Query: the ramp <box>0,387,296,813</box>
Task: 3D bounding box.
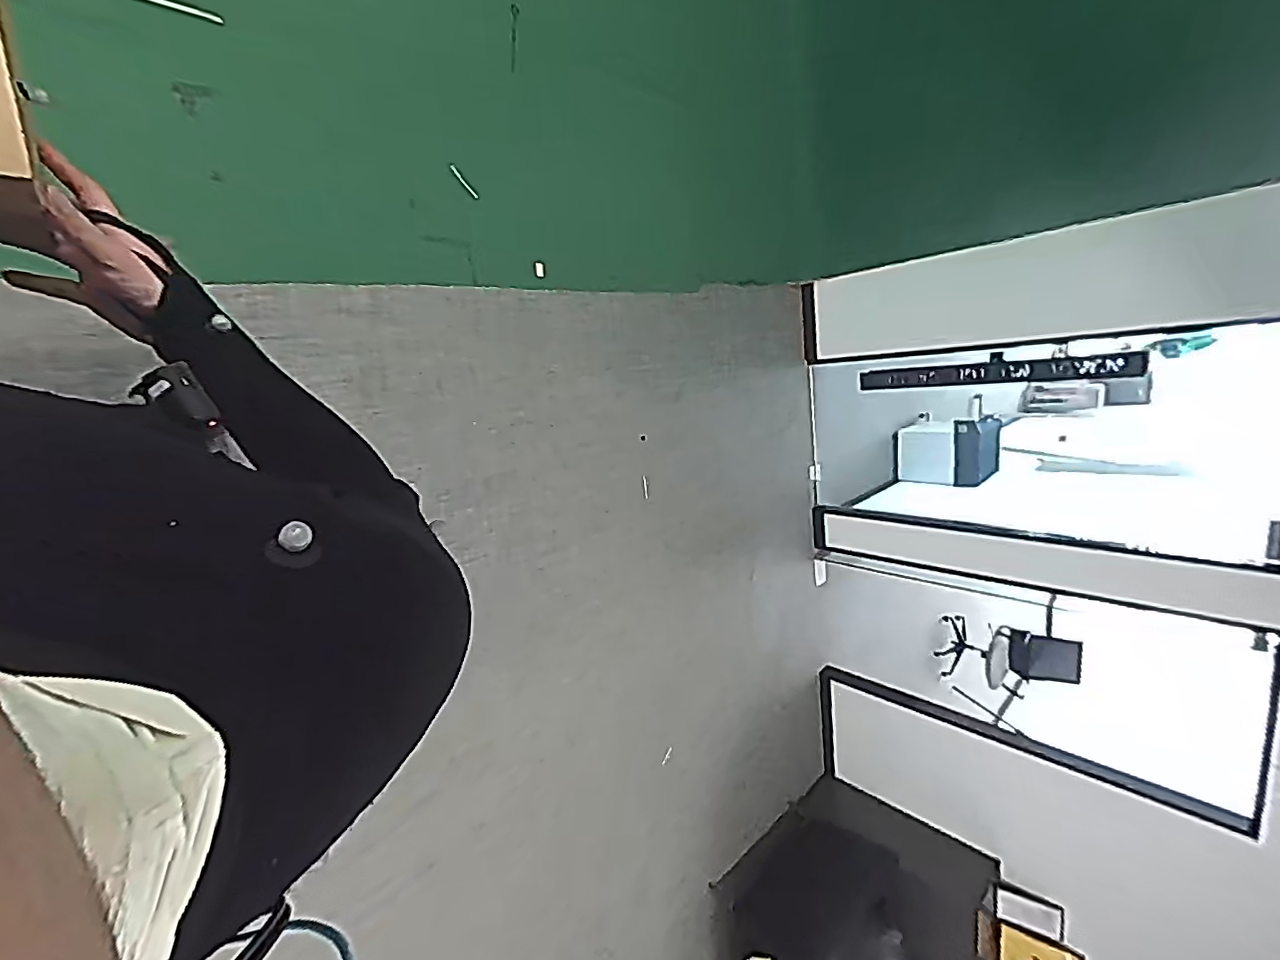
[{"bbox_3d":[-1.205,0.295,1.304,0.509,0.206,0.991,-20,109,-40],"label":"ramp"}]
